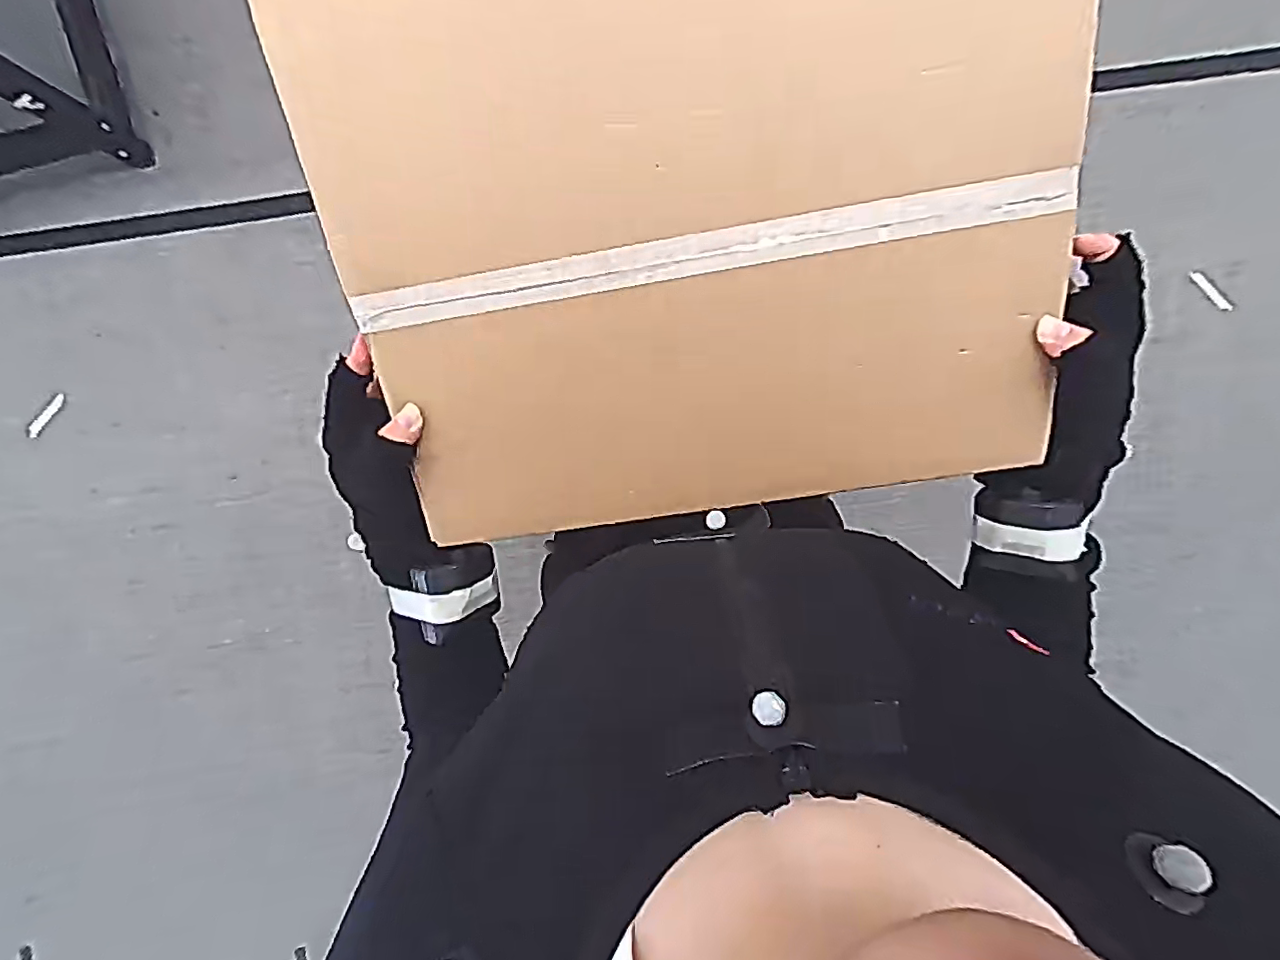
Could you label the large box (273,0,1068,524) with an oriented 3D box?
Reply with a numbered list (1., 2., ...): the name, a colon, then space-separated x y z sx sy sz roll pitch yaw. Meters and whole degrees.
1. large box: 0.030 -0.191 0.451 0.408 0.320 0.320 -8 112 4
